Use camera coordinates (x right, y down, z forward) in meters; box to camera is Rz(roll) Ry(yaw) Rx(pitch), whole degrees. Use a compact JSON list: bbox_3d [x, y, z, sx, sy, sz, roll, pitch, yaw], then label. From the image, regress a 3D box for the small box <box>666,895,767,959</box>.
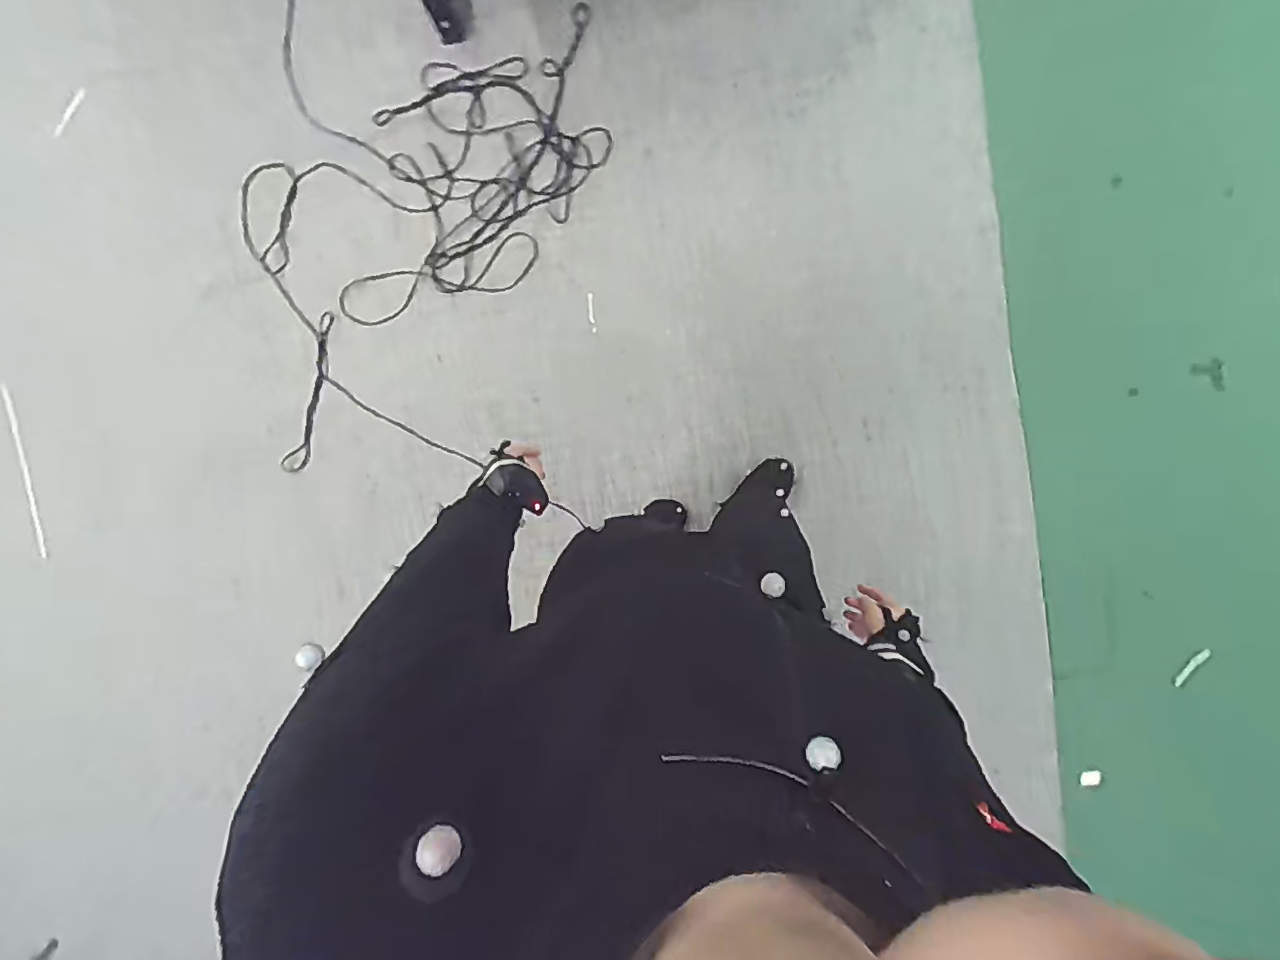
[{"bbox_3d":[0.141,0.914,1.001,0.179,0.176,0.168,3,93,2],"label":"small box"}]
